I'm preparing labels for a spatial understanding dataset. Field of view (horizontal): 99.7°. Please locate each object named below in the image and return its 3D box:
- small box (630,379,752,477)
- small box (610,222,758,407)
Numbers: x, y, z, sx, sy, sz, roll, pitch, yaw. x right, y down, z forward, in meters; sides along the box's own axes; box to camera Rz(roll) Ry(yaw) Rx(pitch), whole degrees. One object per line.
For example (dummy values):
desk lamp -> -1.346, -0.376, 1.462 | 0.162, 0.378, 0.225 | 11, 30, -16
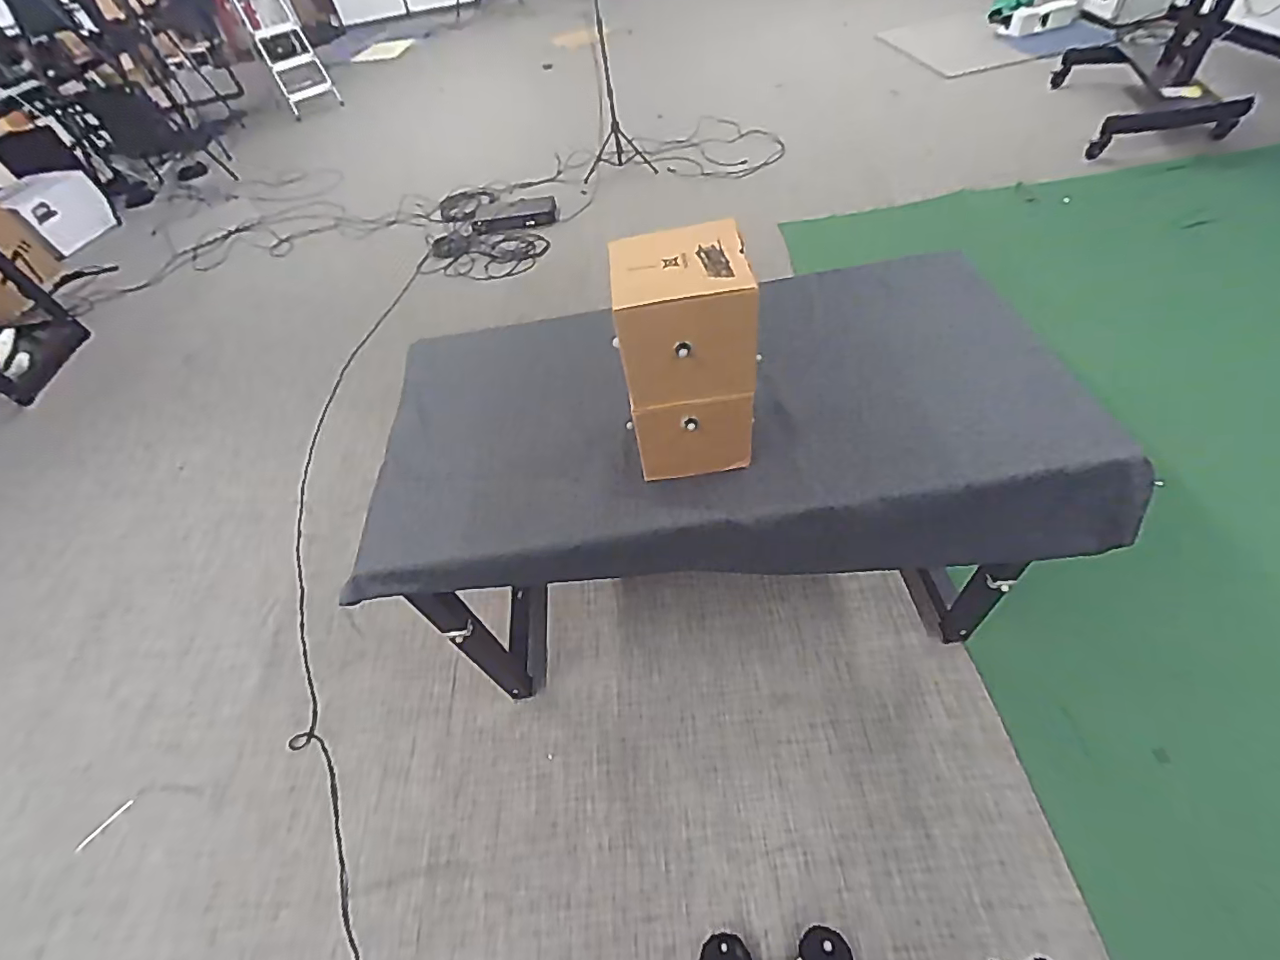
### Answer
small box -> 0.078, -0.120, 0.876 | 0.179, 0.176, 0.168 | -7, 52, 2
small box -> 0.059, -0.223, 0.748 | 0.179, 0.176, 0.168 | -8, 52, 5
